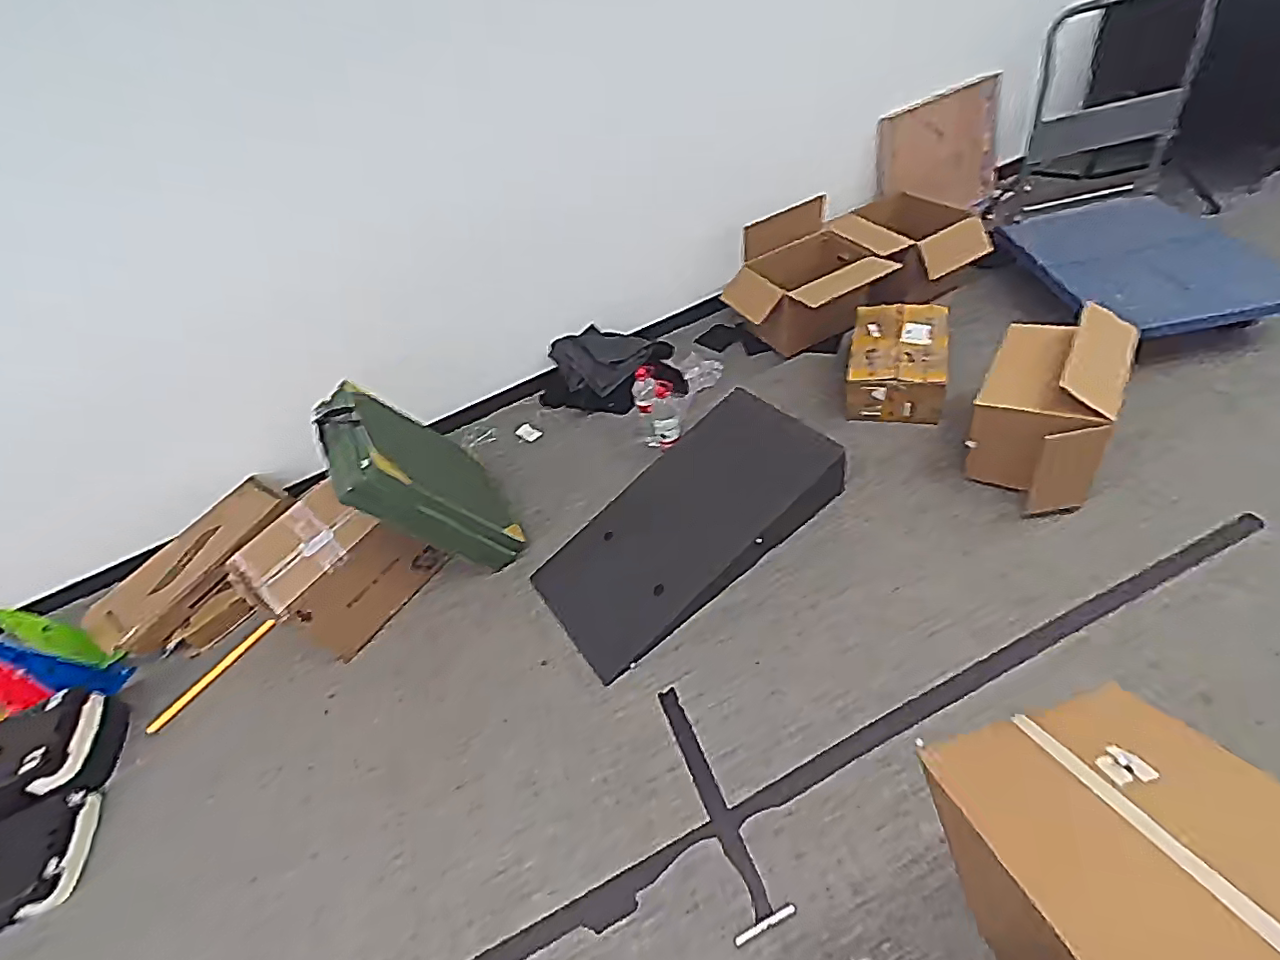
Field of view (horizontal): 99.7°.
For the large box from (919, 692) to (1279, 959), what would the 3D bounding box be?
[{"bbox_3d":[0.624,0.538,0.646,0.320,0.320,0.408,-19,9,2],"label":"large box"}]
